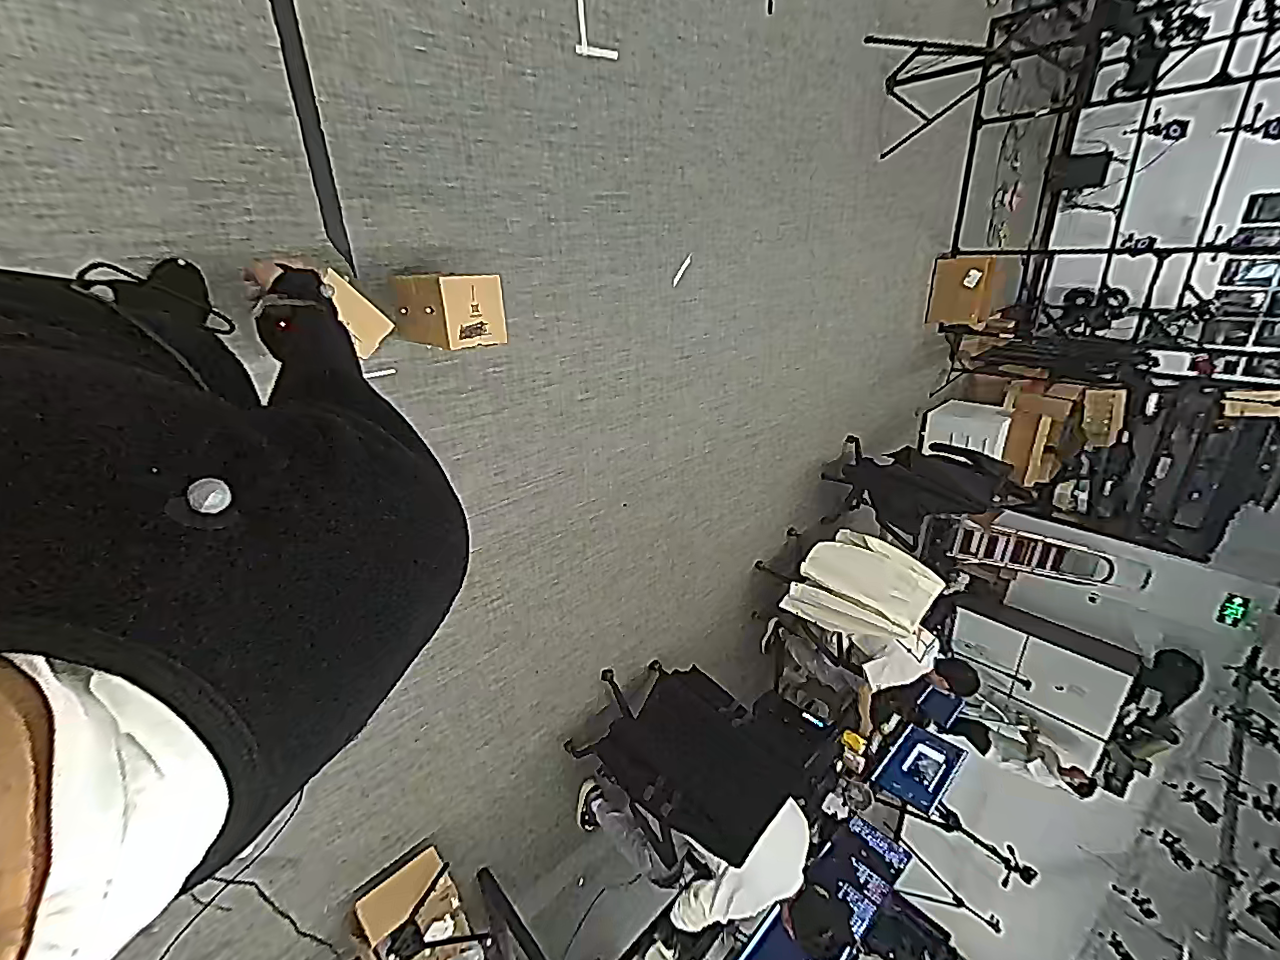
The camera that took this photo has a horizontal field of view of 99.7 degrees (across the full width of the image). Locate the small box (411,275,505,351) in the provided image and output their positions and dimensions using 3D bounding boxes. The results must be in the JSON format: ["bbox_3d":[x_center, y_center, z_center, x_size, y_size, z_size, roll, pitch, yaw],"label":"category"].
[{"bbox_3d":[-0.478,-0.445,1.423,0.168,0.176,0.179,-21,119,-39],"label":"small box"}]

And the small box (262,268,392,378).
[{"bbox_3d":[-0.712,-0.356,1.227,0.168,0.176,0.179,-56,136,-13],"label":"small box"}]

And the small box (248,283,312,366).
[{"bbox_3d":[-0.833,-0.391,1.332,0.168,0.176,0.179,-25,122,-36],"label":"small box"}]
